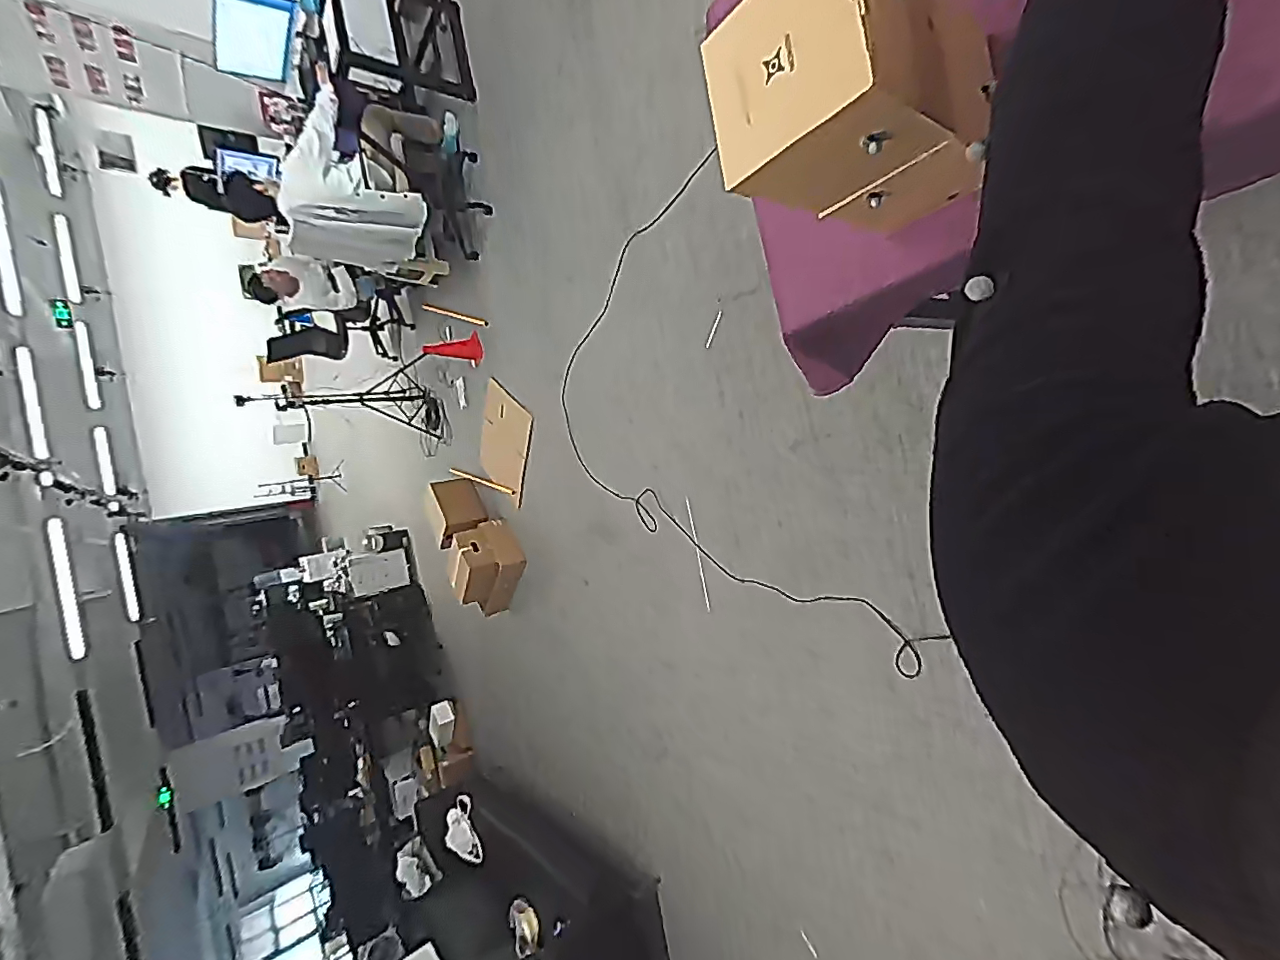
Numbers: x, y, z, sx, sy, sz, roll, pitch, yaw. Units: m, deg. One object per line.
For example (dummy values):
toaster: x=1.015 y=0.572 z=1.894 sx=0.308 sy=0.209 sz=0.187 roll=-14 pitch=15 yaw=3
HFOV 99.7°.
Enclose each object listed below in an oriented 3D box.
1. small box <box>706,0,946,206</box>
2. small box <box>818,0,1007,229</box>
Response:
small box: x=0.201 y=-0.421 z=0.576 sx=0.179 sy=0.176 sz=0.168 roll=-9 pitch=91 yaw=53
small box: x=0.328 y=-0.444 z=0.676 sx=0.168 sy=0.176 sz=0.179 roll=-11 pitch=89 yaw=53
